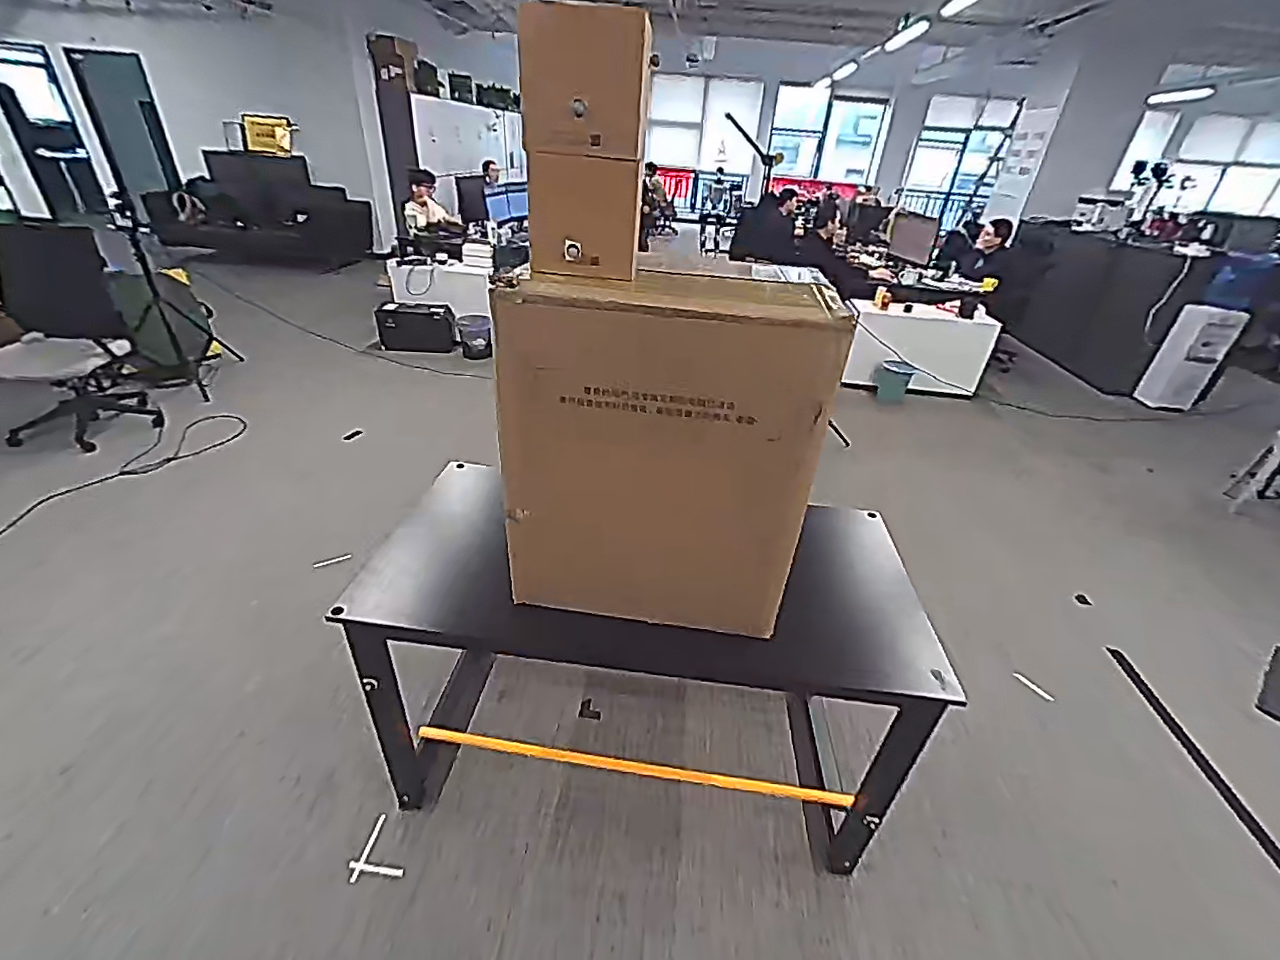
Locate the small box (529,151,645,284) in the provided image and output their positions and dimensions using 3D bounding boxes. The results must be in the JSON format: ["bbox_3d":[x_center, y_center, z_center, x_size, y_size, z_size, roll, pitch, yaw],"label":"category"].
[{"bbox_3d":[-0.081,-0.430,0.876,0.168,0.176,0.179,4,34,-1],"label":"small box"}]

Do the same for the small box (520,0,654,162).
[{"bbox_3d":[-0.072,-0.568,0.786,0.168,0.176,0.179,5,33,1],"label":"small box"}]
